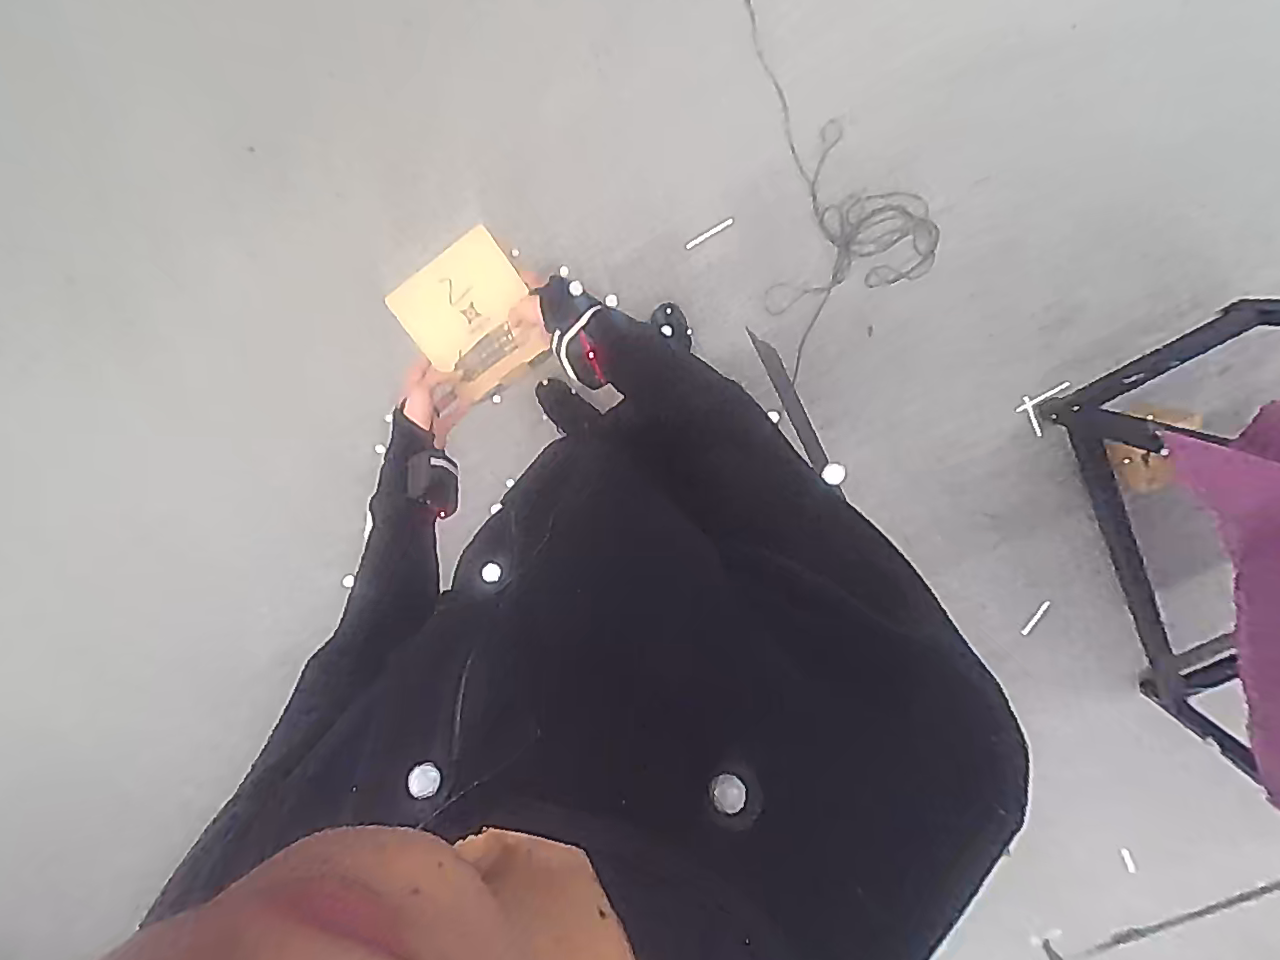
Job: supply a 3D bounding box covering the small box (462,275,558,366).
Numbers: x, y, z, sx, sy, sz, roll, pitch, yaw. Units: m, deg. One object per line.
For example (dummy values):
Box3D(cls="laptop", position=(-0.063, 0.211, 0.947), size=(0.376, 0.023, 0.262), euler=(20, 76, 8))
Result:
Box3D(cls="small box", position=(-0.334, -0.420, 1.427), size=(0.168, 0.176, 0.179), euler=(-24, 107, 9))
